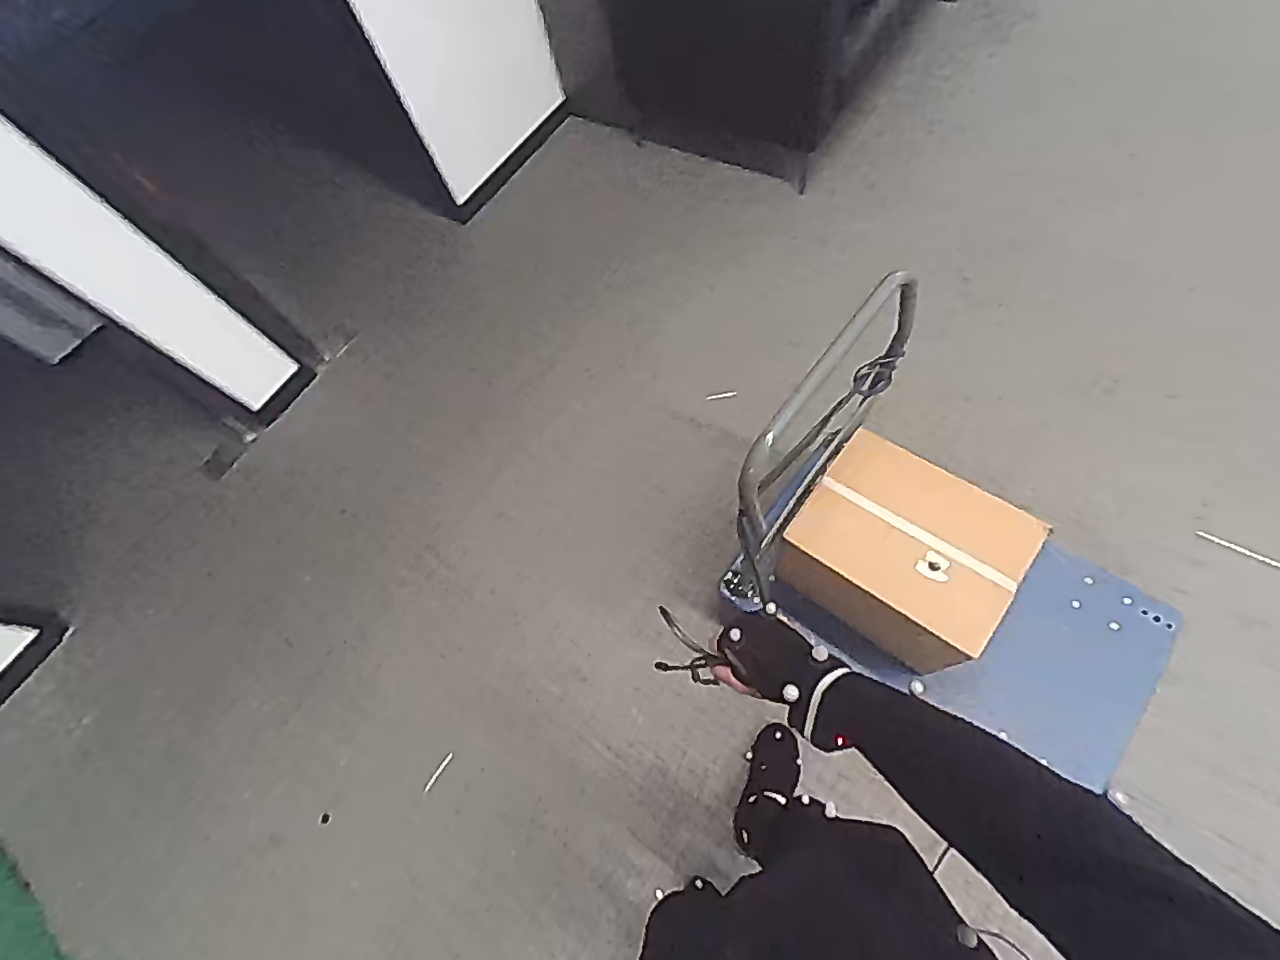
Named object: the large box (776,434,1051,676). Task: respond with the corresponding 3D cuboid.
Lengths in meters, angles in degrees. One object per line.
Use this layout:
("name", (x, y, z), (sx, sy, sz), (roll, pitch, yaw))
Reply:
("large box", (0.561, 0.171, 1.198), (0.408, 0.320, 0.320), (34, 76, 22))
